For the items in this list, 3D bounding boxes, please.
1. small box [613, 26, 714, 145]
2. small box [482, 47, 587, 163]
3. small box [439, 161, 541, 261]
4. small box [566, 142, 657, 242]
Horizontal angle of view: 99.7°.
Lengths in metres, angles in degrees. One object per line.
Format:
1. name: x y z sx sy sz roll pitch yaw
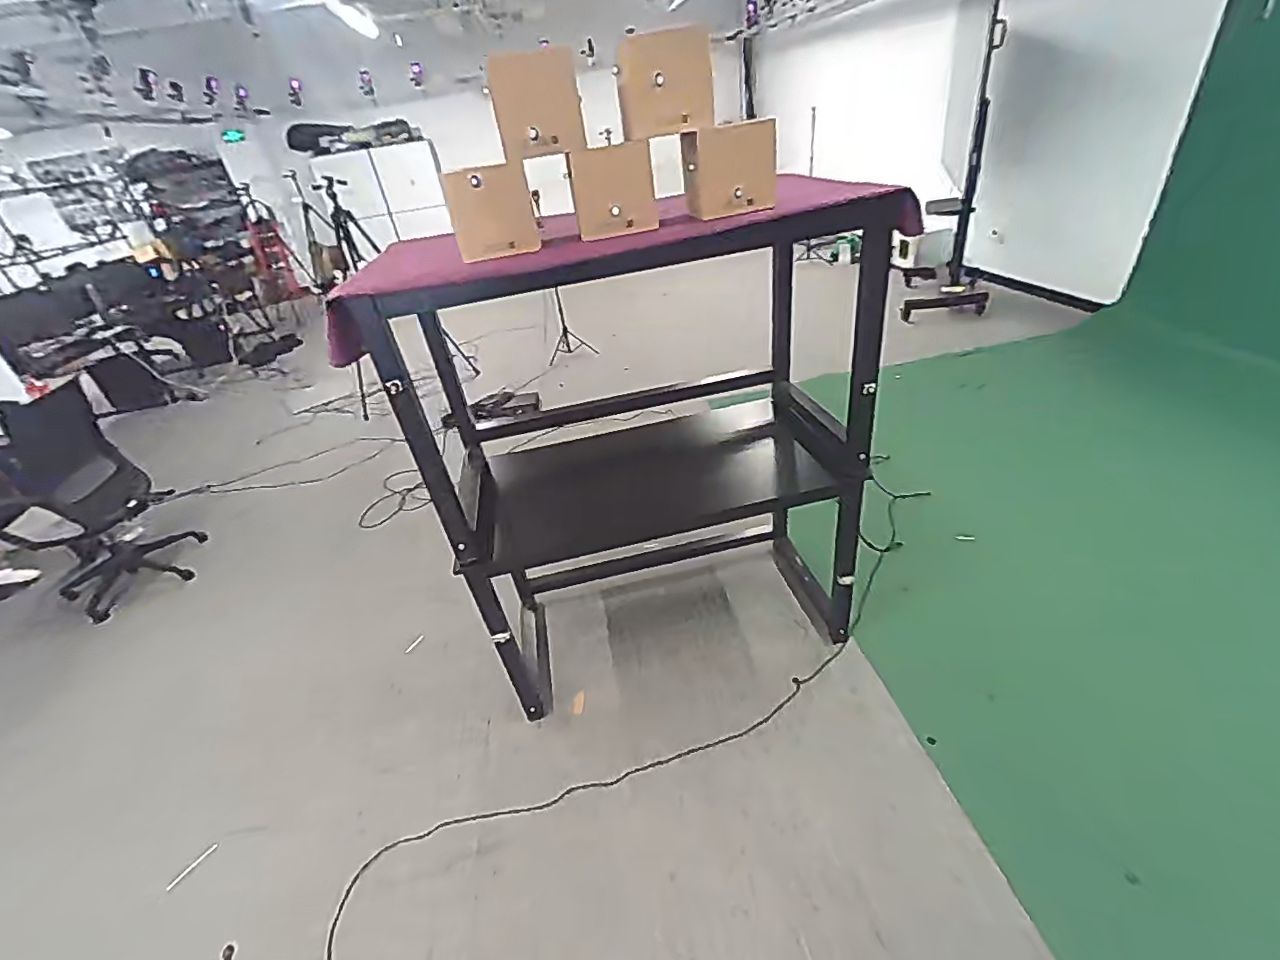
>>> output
1. small box: 0.048 -0.789 1.100 0.168 0.176 0.179 -11 32 -3
2. small box: -0.205 -0.740 1.084 0.168 0.176 0.179 -11 32 -3
3. small box: -0.311 -0.574 1.156 0.168 0.176 0.179 -12 31 -5
4. small box: -0.065 -0.627 1.178 0.168 0.176 0.179 -12 33 -4
